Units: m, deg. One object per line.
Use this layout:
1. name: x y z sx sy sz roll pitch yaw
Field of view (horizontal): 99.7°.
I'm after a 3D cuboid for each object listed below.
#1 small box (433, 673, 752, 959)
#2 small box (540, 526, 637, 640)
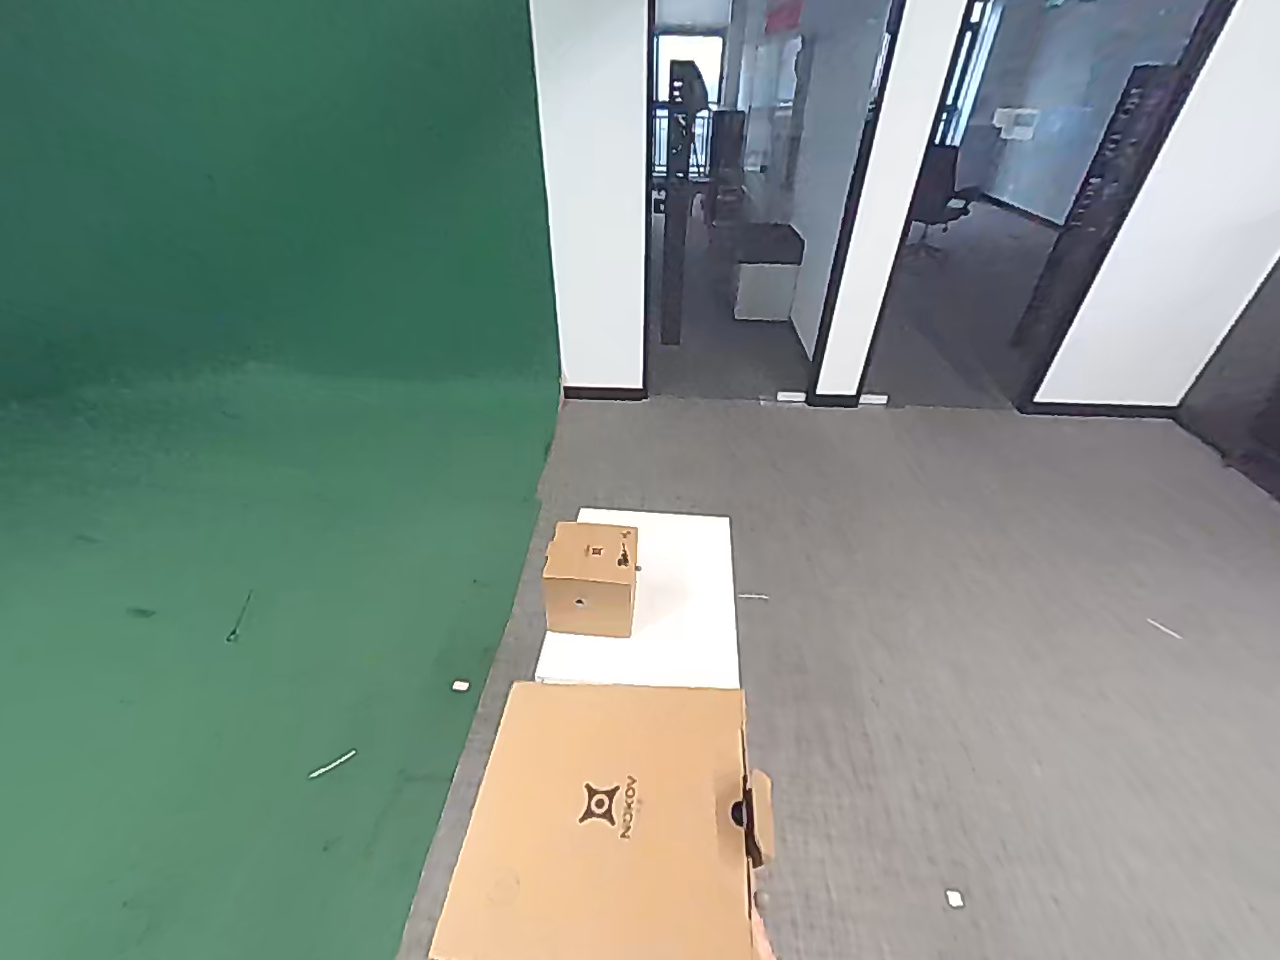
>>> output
1. small box: -0.011 0.262 0.392 0.179 0.176 0.168 -2 37 9
2. small box: -0.101 0.217 1.132 0.179 0.176 0.168 4 37 3
